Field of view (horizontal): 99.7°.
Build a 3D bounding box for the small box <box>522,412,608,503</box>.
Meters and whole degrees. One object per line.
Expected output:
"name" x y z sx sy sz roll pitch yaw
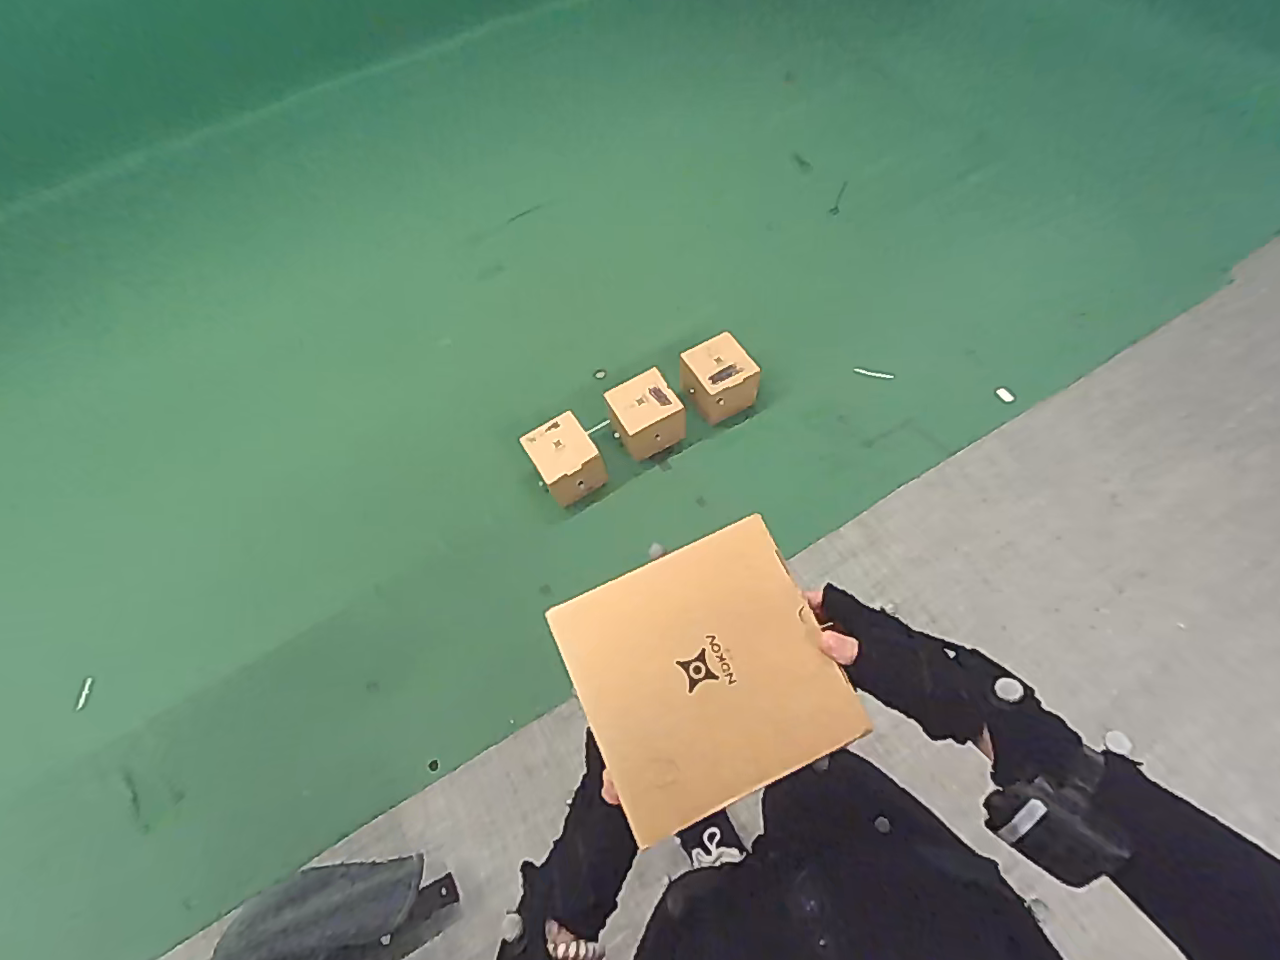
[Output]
"small box" -0.207 -0.054 1.536 0.168 0.176 0.179 -31 66 -9
